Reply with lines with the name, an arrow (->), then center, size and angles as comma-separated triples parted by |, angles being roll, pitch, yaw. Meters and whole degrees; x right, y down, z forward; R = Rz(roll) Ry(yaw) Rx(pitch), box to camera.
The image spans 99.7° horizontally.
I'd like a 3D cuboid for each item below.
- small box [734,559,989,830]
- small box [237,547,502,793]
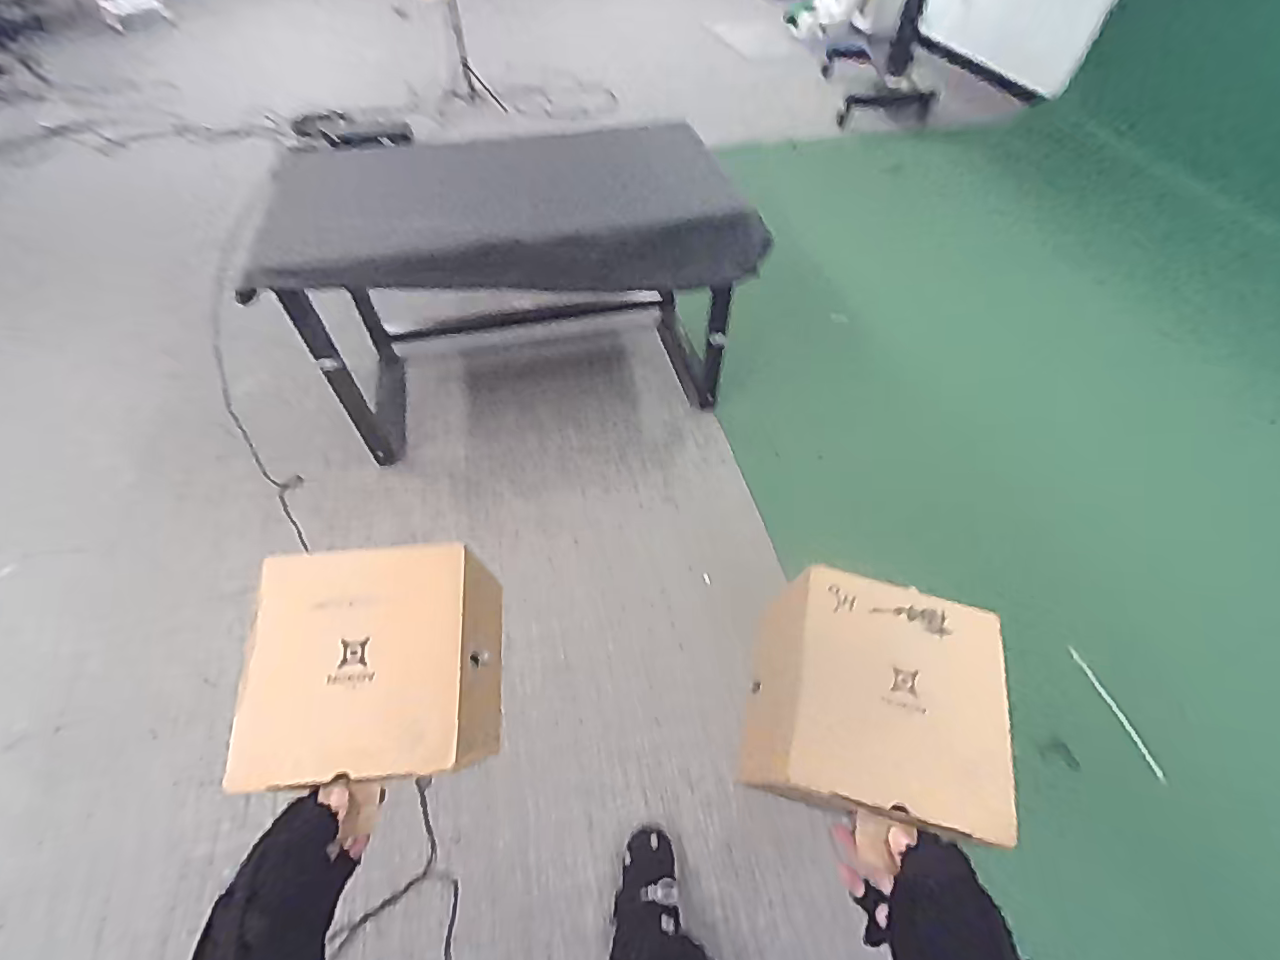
small box -> 0.193, 0.200, 0.509 | 0.168, 0.176, 0.179 | 14, 62, 3
small box -> -0.228, 0.174, 0.508 | 0.168, 0.176, 0.179 | -5, 67, -5
